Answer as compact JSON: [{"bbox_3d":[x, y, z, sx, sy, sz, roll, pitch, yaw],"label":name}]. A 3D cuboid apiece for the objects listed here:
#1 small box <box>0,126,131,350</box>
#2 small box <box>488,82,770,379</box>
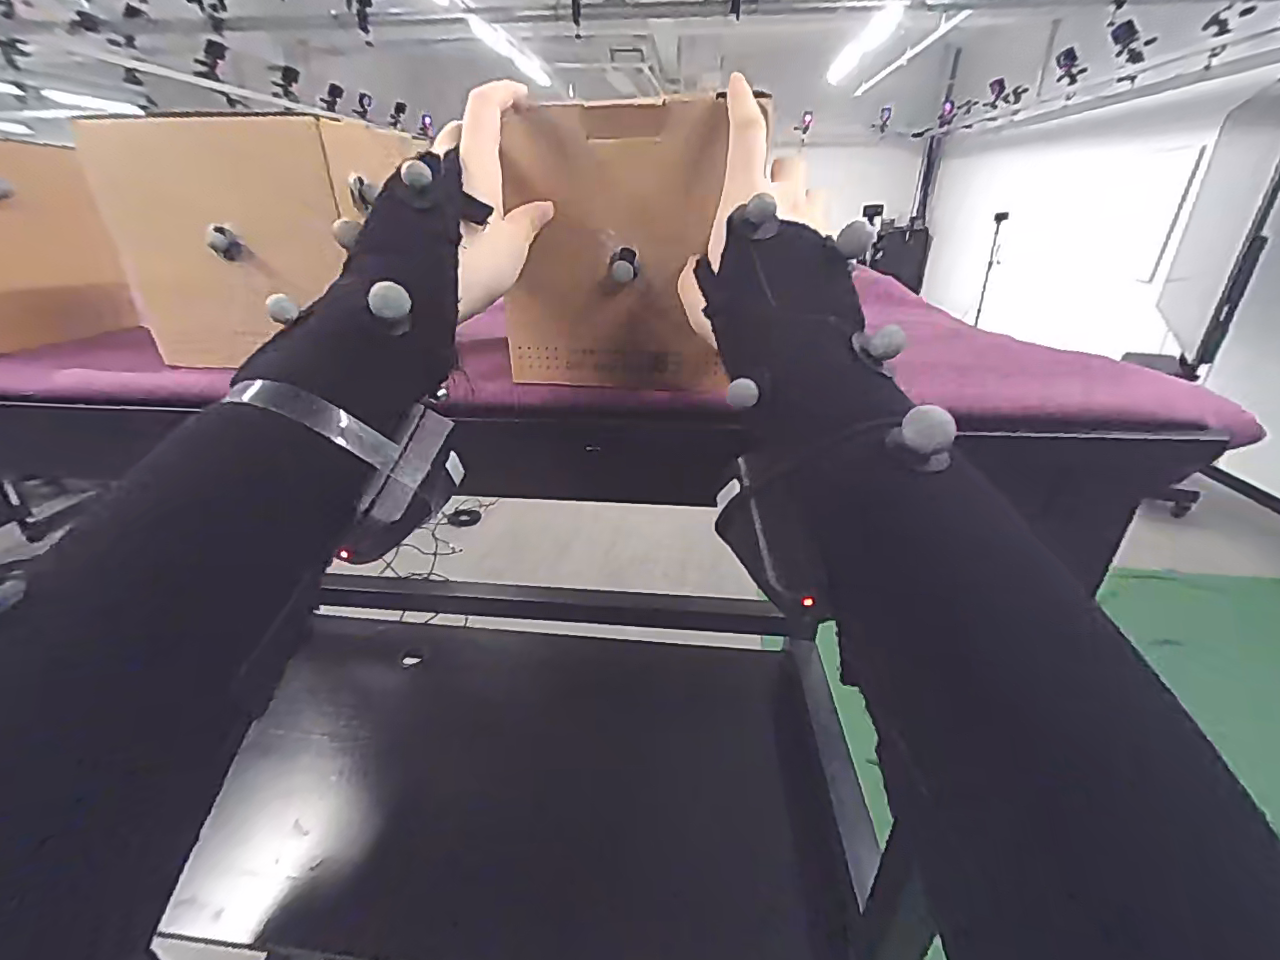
[{"bbox_3d":[-0.601,-0.210,0.466,0.168,0.176,0.179,2,26,1],"label":"small box"},{"bbox_3d":[0.006,-0.180,0.411,0.168,0.176,0.179,4,27,8],"label":"small box"}]
